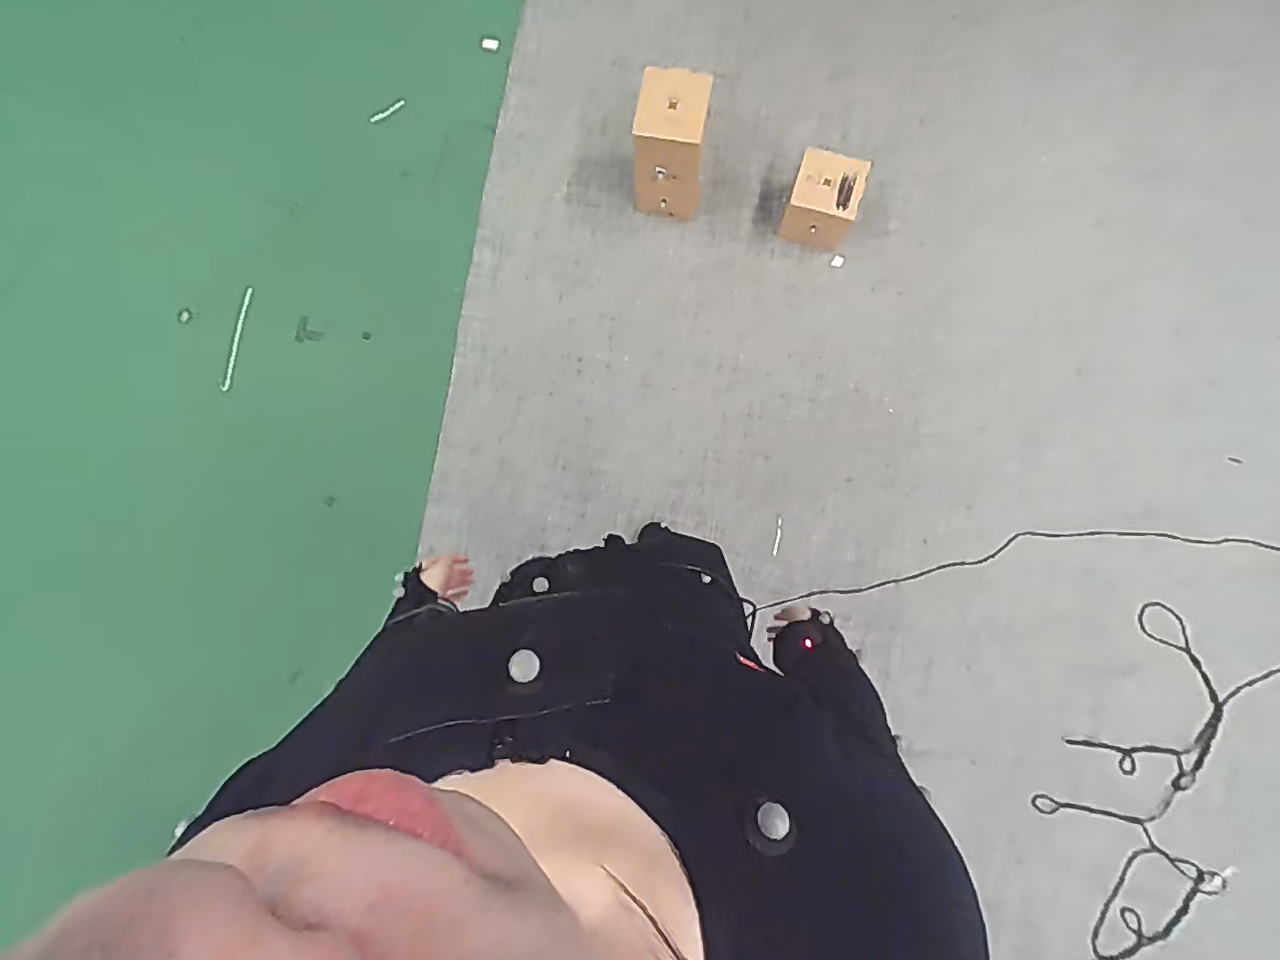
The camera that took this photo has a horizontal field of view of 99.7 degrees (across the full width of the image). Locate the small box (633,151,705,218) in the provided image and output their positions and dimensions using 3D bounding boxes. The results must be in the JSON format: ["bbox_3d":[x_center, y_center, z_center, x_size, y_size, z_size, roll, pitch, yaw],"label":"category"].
[{"bbox_3d":[0.085,-0.866,1.509,0.168,0.176,0.179,14,88,3],"label":"small box"}]

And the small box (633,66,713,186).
[{"bbox_3d":[0.081,-0.875,1.346,0.168,0.176,0.179,10,87,4],"label":"small box"}]
